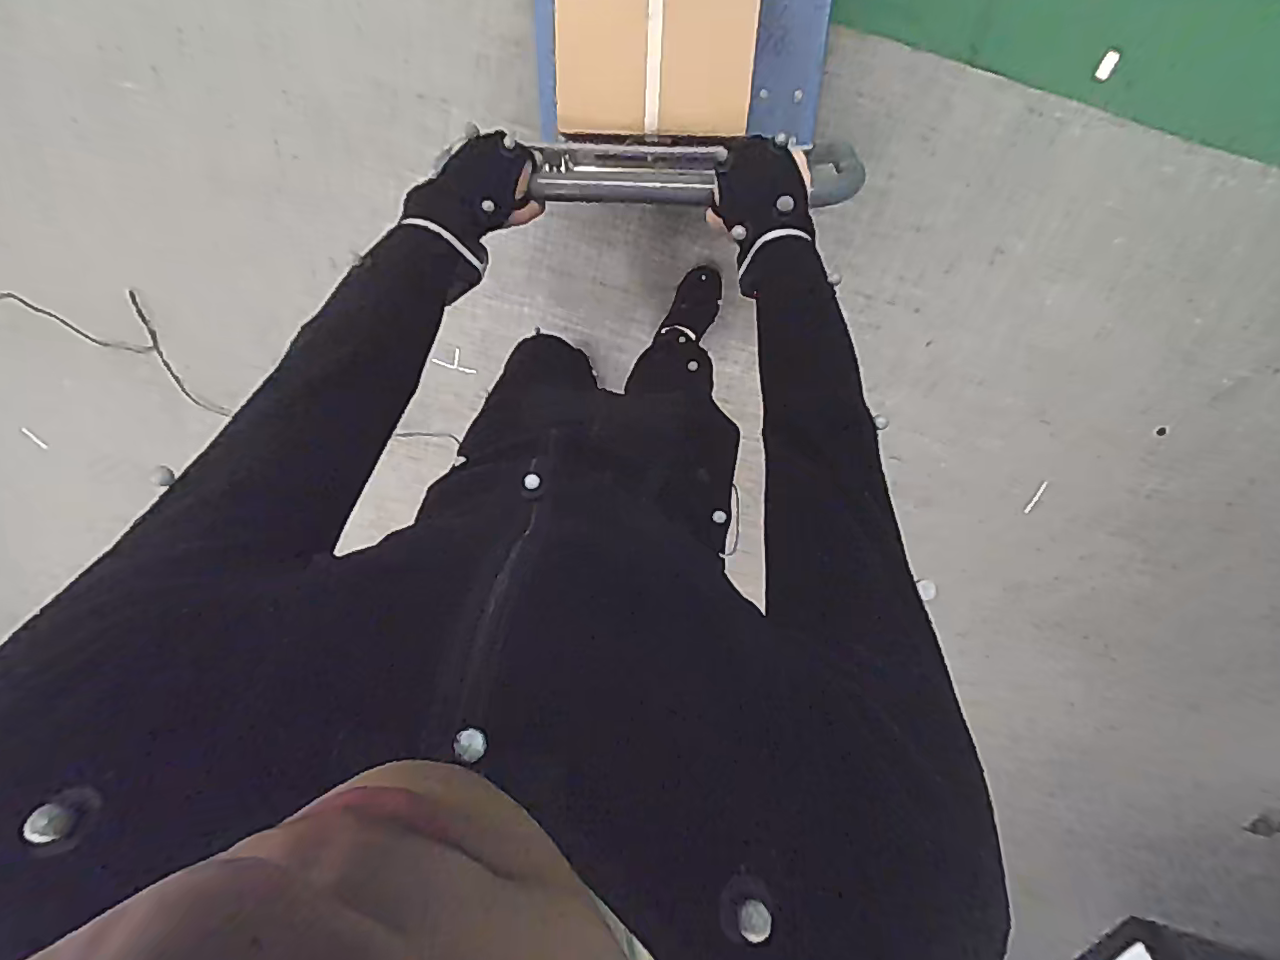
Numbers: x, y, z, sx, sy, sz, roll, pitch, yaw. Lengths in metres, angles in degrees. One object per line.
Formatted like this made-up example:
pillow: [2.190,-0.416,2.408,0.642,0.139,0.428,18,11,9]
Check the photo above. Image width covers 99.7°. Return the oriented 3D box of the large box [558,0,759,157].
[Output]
large box: [0.044,-0.819,0.952,0.320,0.320,0.408,5,114,5]
